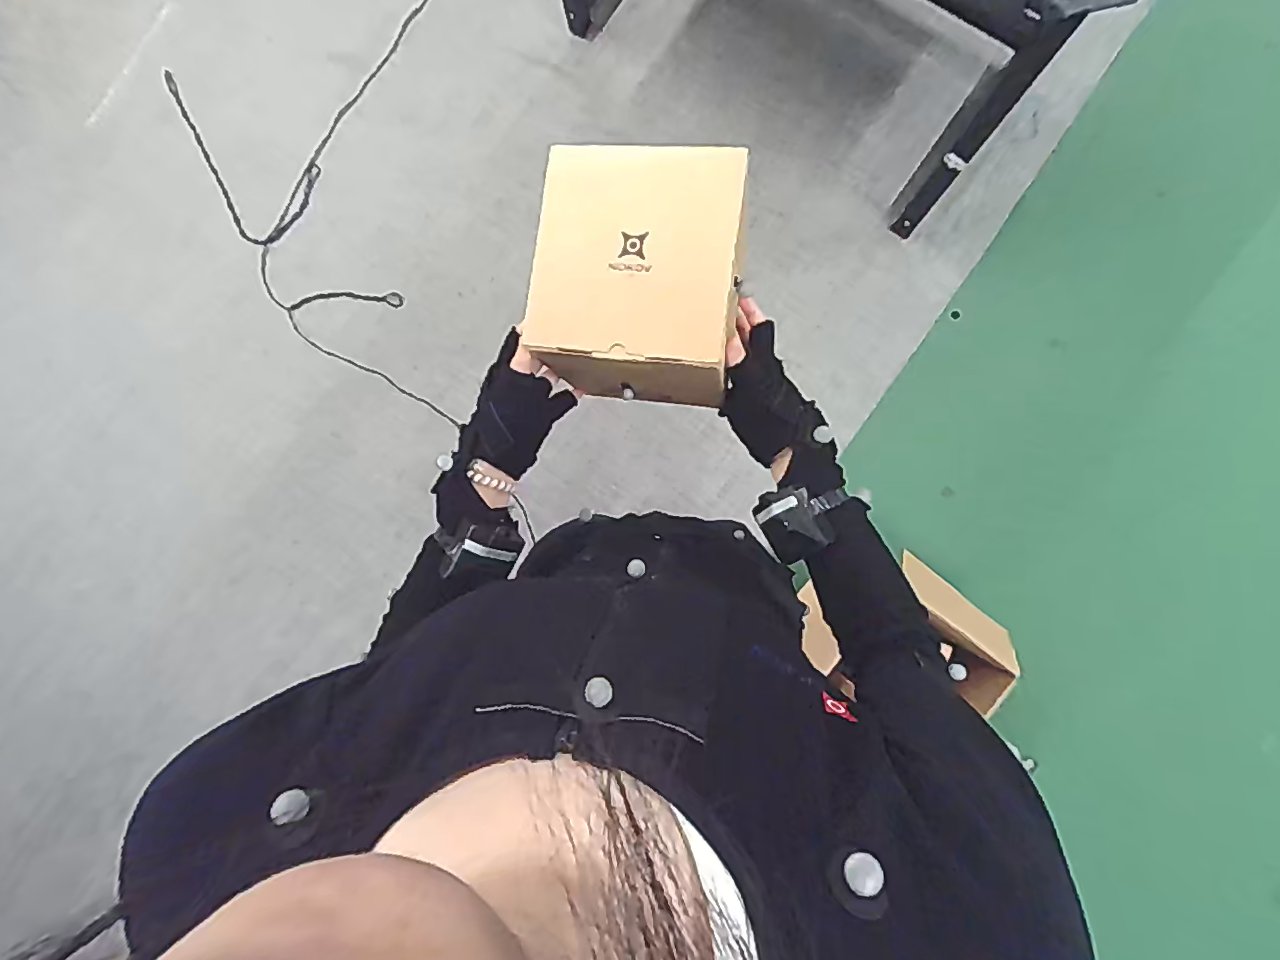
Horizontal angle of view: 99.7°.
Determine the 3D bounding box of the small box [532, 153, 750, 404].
[{"bbox_3d":[0.011,-0.182,0.529,0.168,0.176,0.179,8,89,10],"label":"small box"}]
